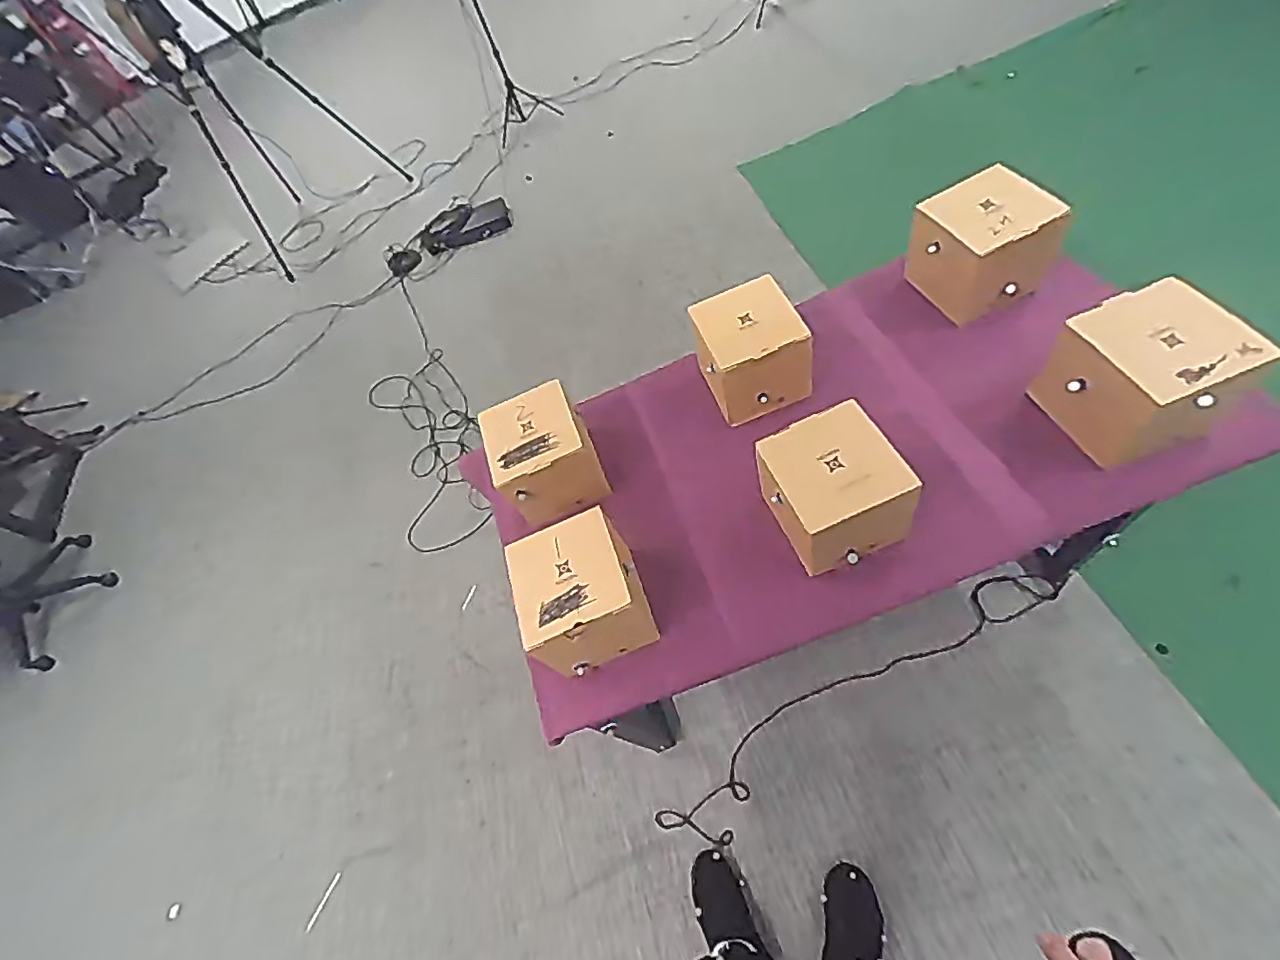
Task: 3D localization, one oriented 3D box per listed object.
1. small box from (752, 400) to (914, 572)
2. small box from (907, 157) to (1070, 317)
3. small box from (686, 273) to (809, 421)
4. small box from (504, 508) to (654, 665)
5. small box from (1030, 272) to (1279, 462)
[{"bbox_3d":[0.289,0.015,0.837,0.168,0.176,0.179,-25,56,4],"label":"small box"},{"bbox_3d":[0.614,-0.435,0.985,0.168,0.176,0.179,-27,57,6],"label":"small box"},{"bbox_3d":[0.201,-0.244,1.016,0.168,0.176,0.179,-22,59,4],"label":"small box"},{"bbox_3d":[-0.093,0.180,0.865,0.168,0.176,0.179,-24,54,3],"label":"small box"},{"bbox_3d":[0.722,-0.158,0.790,0.168,0.176,0.179,-24,57,5],"label":"small box"}]
